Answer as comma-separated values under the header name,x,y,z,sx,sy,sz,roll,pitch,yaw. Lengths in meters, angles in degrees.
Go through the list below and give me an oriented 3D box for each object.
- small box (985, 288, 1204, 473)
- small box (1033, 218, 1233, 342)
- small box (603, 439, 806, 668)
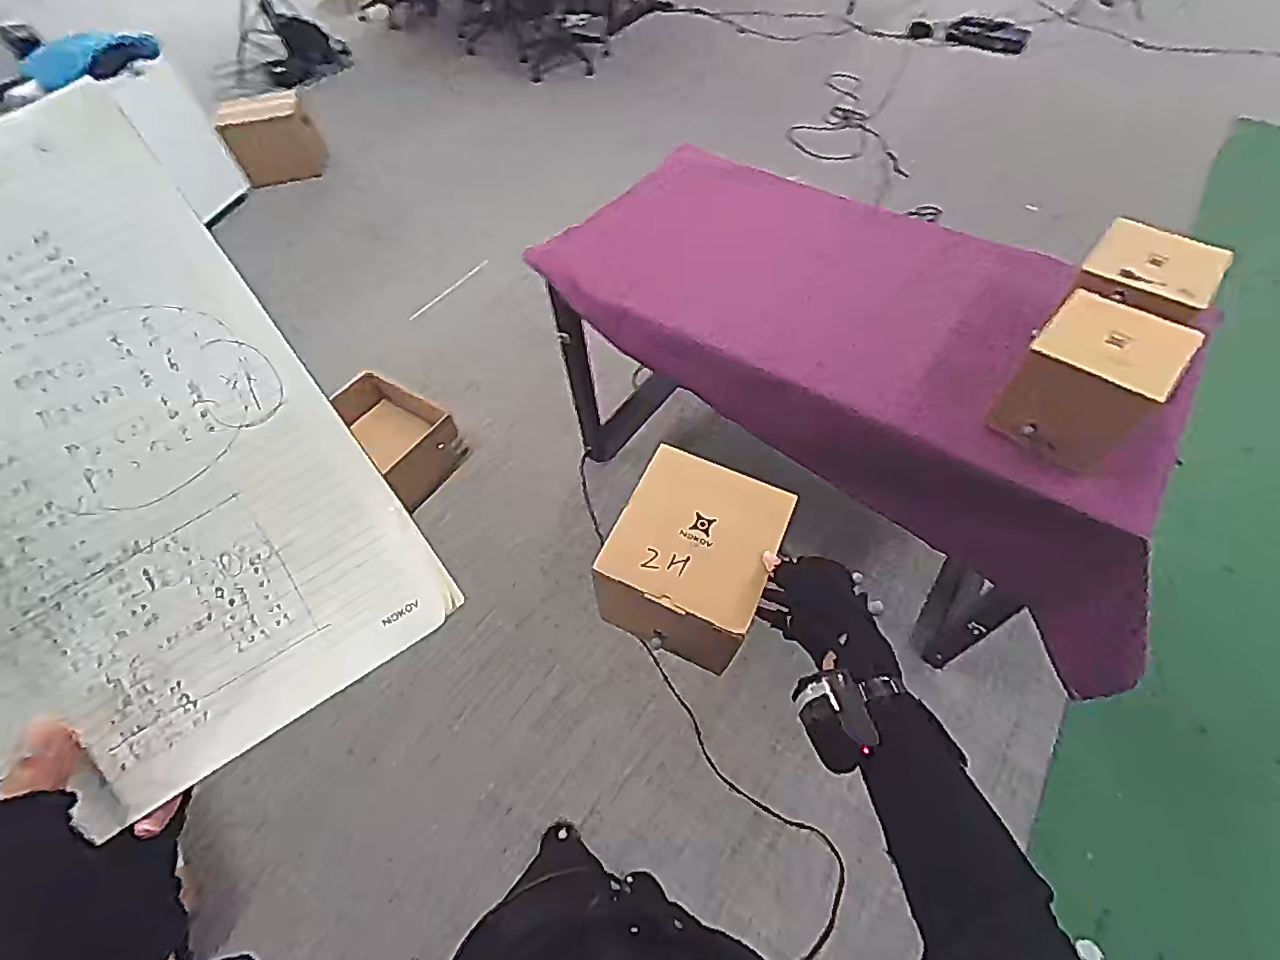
name,x,y,z,sx,sy,sz,roll,pitch,yaw
small box,0.663,-0.147,0.811,0.168,0.176,0.179,38,66,26
small box,0.806,-0.295,0.901,0.168,0.176,0.179,36,65,25
small box,0.068,0.090,0.630,0.168,0.176,0.179,24,62,13
